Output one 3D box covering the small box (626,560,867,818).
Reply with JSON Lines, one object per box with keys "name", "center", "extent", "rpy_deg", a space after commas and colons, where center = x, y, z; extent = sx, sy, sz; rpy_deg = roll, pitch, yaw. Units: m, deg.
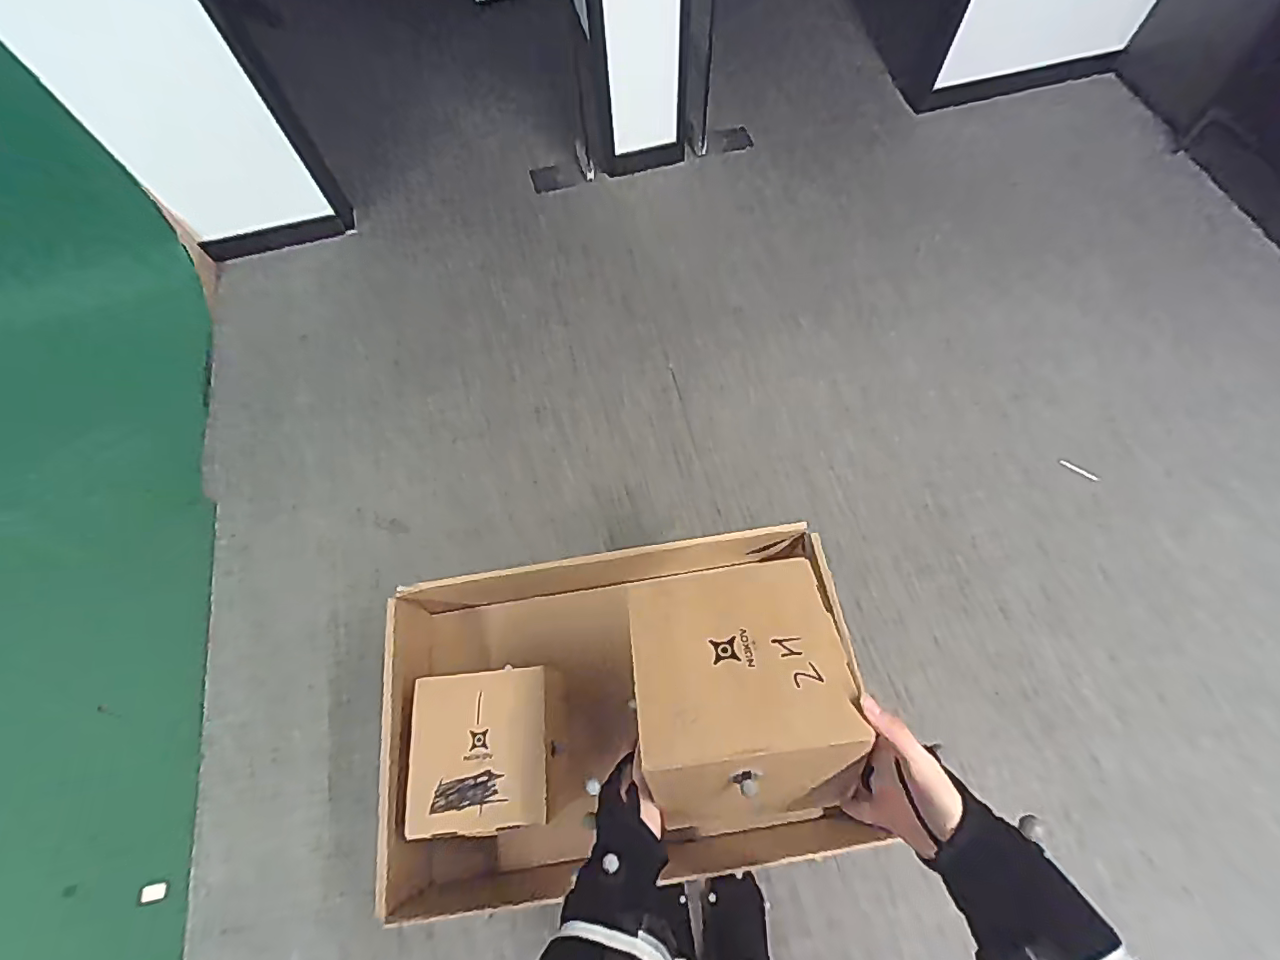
{"name": "small box", "center": [0.089, 0.201, 0.513], "extent": [0.179, 0.176, 0.168], "rpy_deg": [-9, 45, 2]}
